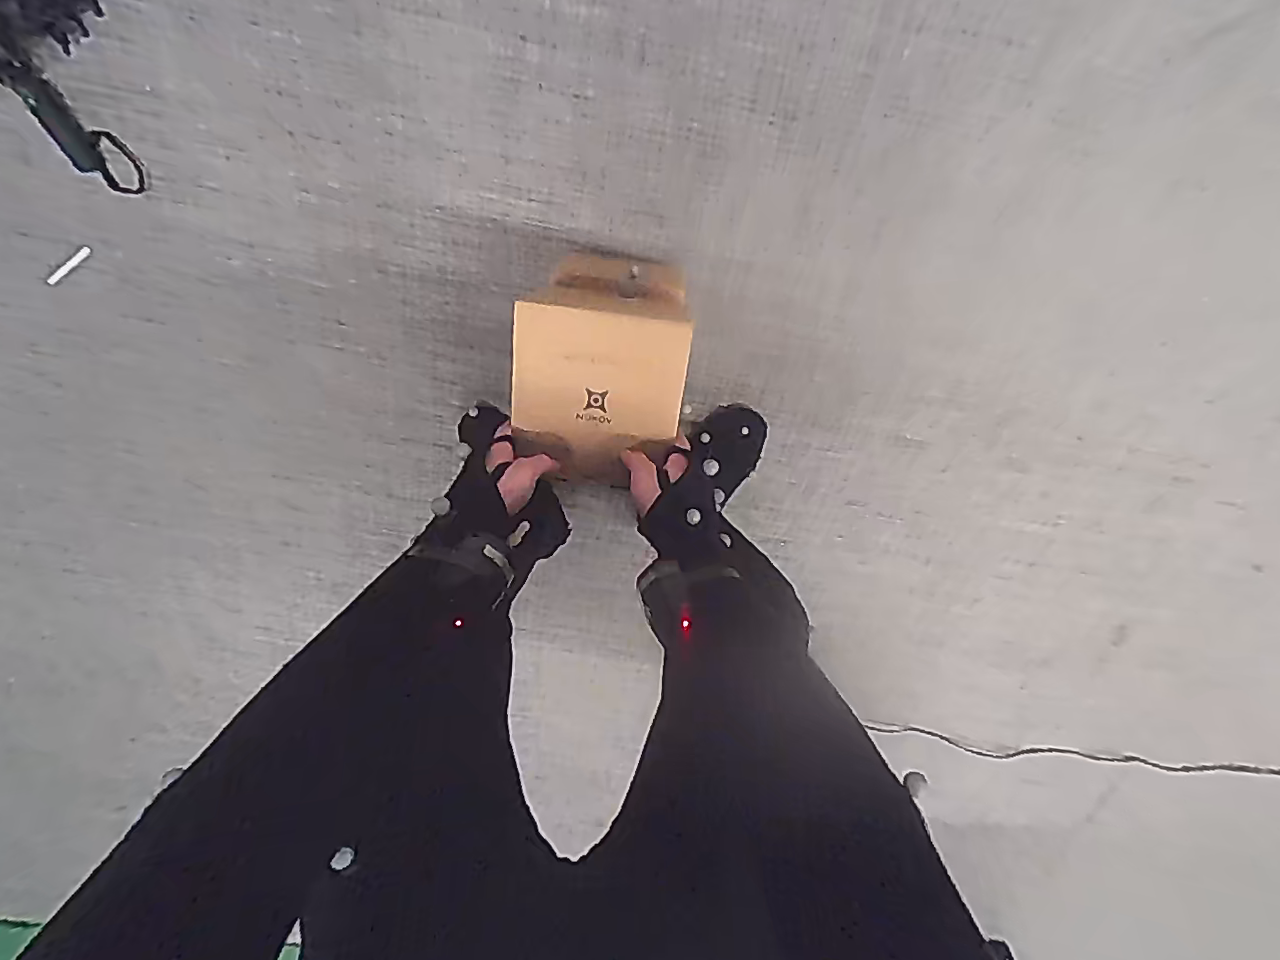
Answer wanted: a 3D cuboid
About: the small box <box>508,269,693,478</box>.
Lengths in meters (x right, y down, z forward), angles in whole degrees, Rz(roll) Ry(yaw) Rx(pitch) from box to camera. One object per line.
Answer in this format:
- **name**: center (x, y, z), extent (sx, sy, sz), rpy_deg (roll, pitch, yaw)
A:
- **small box**: center (-0.038, -0.122, 0.584), extent (0.168, 0.176, 0.179), rpy_deg (7, 114, 0)
